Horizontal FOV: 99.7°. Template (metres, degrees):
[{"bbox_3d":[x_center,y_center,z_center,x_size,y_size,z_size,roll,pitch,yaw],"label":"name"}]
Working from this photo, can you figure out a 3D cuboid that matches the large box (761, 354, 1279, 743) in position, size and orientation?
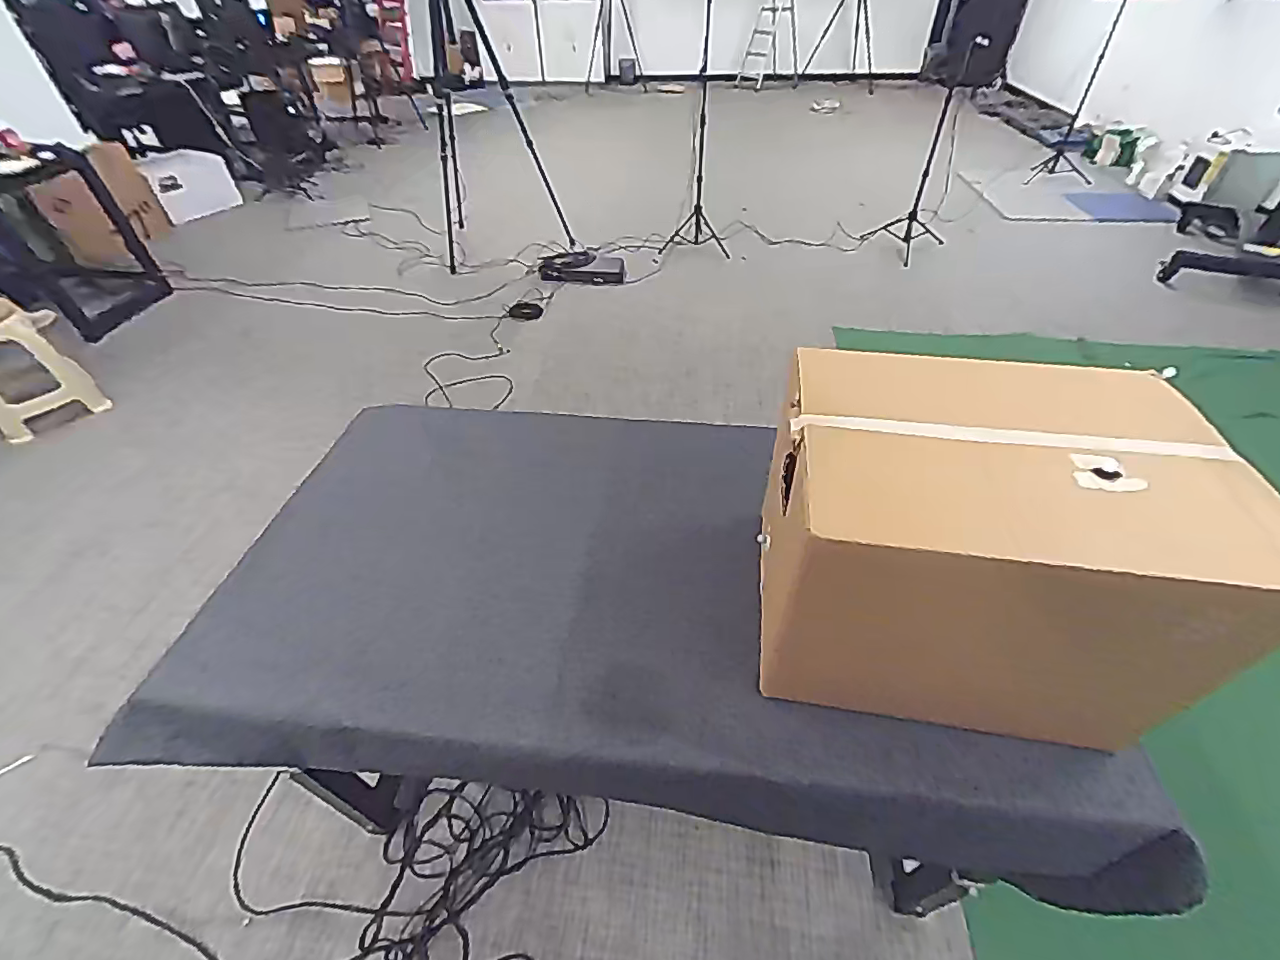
[{"bbox_3d":[0.369,0.073,0.645,0.408,0.320,0.320,7,45,7],"label":"large box"}]
